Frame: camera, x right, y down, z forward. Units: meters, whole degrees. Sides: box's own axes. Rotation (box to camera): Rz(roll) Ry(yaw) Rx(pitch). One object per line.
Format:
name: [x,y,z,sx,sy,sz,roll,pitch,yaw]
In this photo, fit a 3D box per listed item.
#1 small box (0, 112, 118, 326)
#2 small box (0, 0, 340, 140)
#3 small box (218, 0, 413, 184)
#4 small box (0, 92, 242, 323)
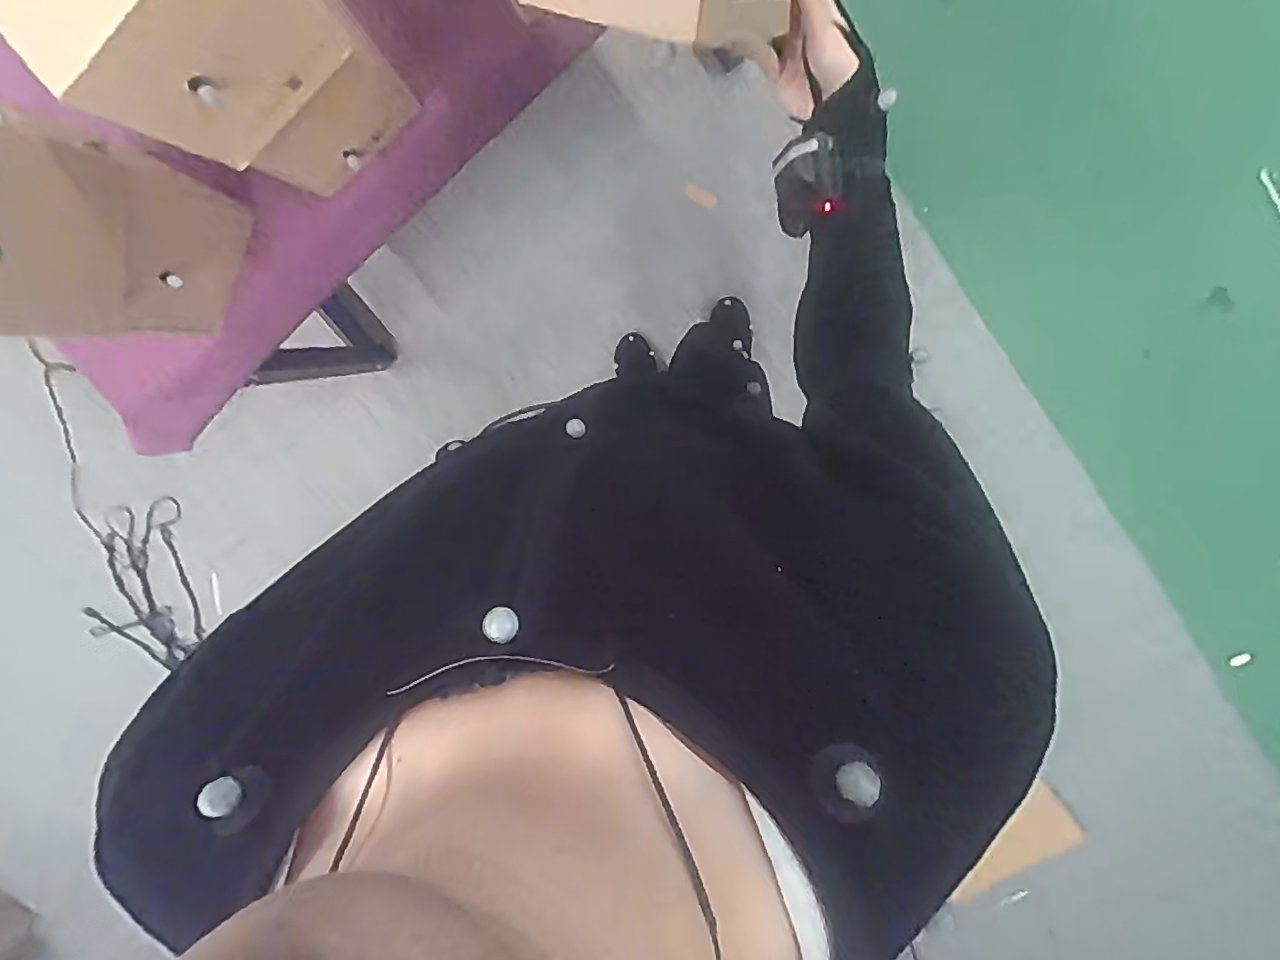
small box: [-0.609,-0.240,0.466,0.168,0.176,0.179,16,104,-1]
small box: [-0.382,-0.402,0.416,0.168,0.176,0.179,-36,99,12]
small box: [-0.385,-0.455,0.570,0.168,0.176,0.179,-35,100,12]
small box: [-0.609,-0.294,0.622,0.168,0.176,0.179,27,104,-5]
